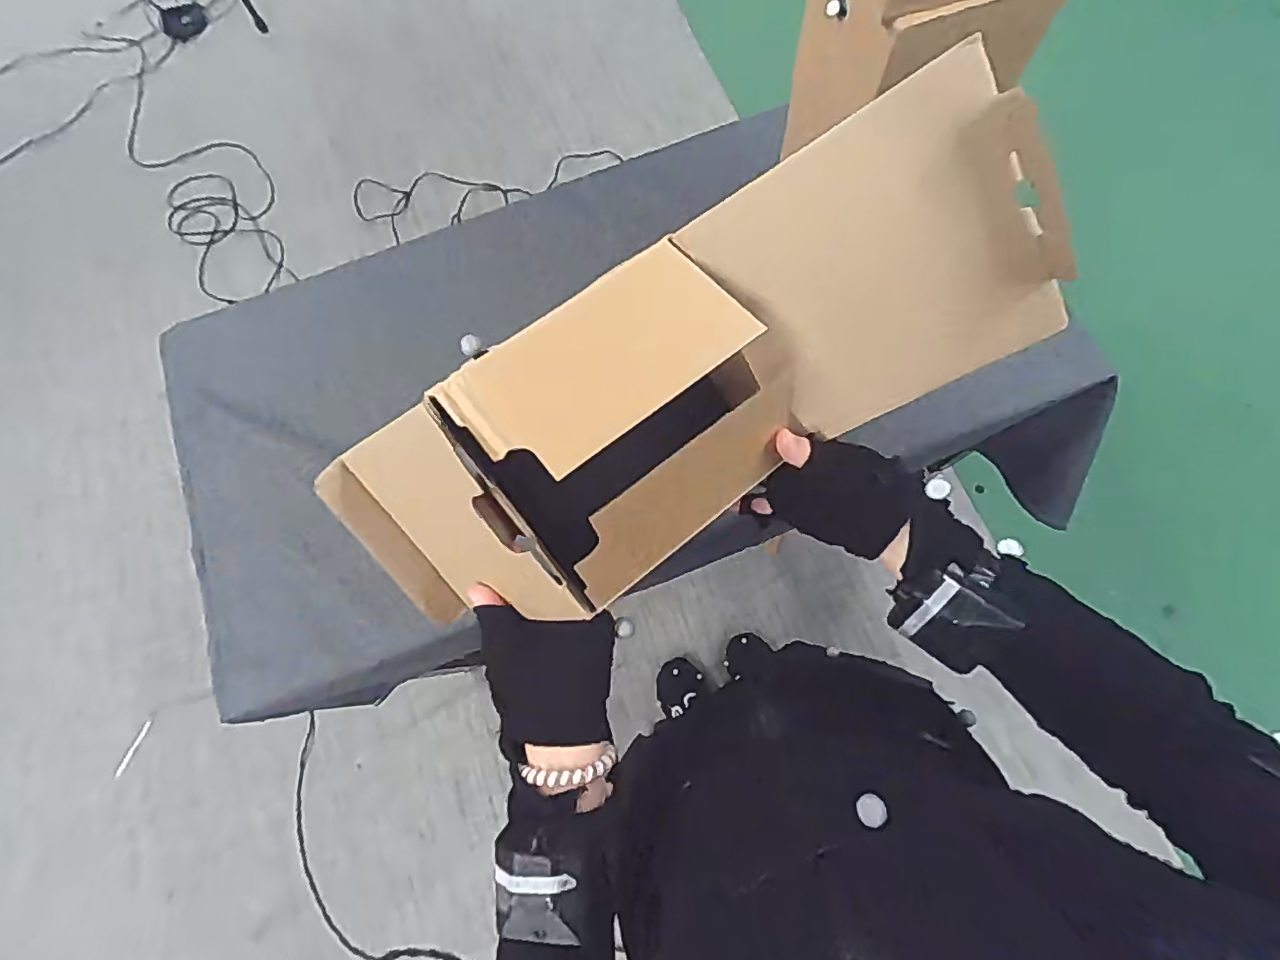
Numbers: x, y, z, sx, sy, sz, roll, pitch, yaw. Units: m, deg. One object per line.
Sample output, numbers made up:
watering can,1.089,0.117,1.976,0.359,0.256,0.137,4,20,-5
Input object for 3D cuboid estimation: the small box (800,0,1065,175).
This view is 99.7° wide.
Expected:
small box,0.282,-0.464,0.560,0.168,0.176,0.179,-16,74,1
